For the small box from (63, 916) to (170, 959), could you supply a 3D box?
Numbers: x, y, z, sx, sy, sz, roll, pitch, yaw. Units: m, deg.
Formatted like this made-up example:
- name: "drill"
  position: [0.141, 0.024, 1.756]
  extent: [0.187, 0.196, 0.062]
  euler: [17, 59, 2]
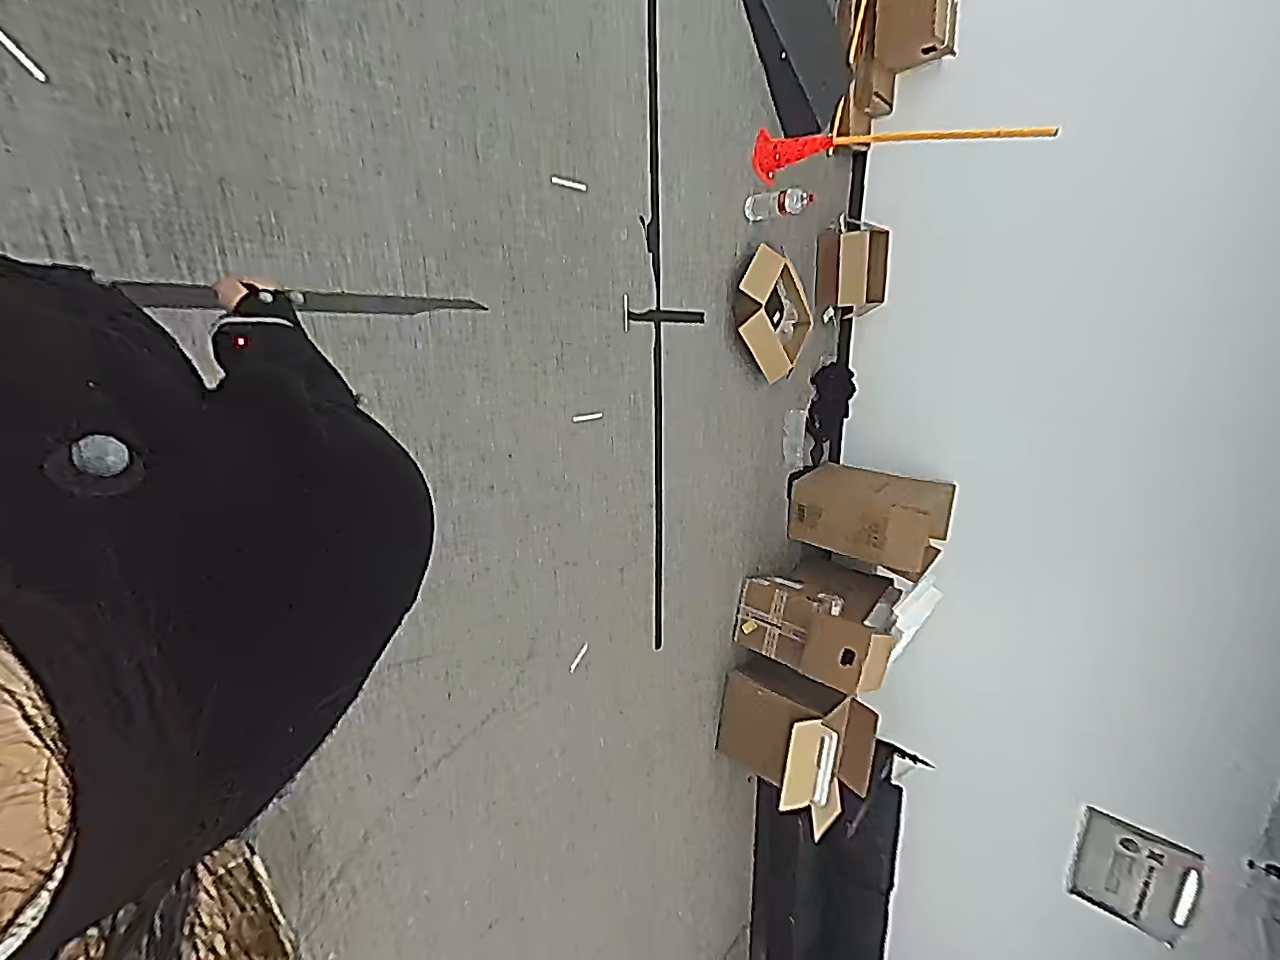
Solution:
- name: "small box"
  position: [-1.140, 1.108, 1.168]
  extent: [0.168, 0.176, 0.179]
  euler: [-29, 120, -42]
